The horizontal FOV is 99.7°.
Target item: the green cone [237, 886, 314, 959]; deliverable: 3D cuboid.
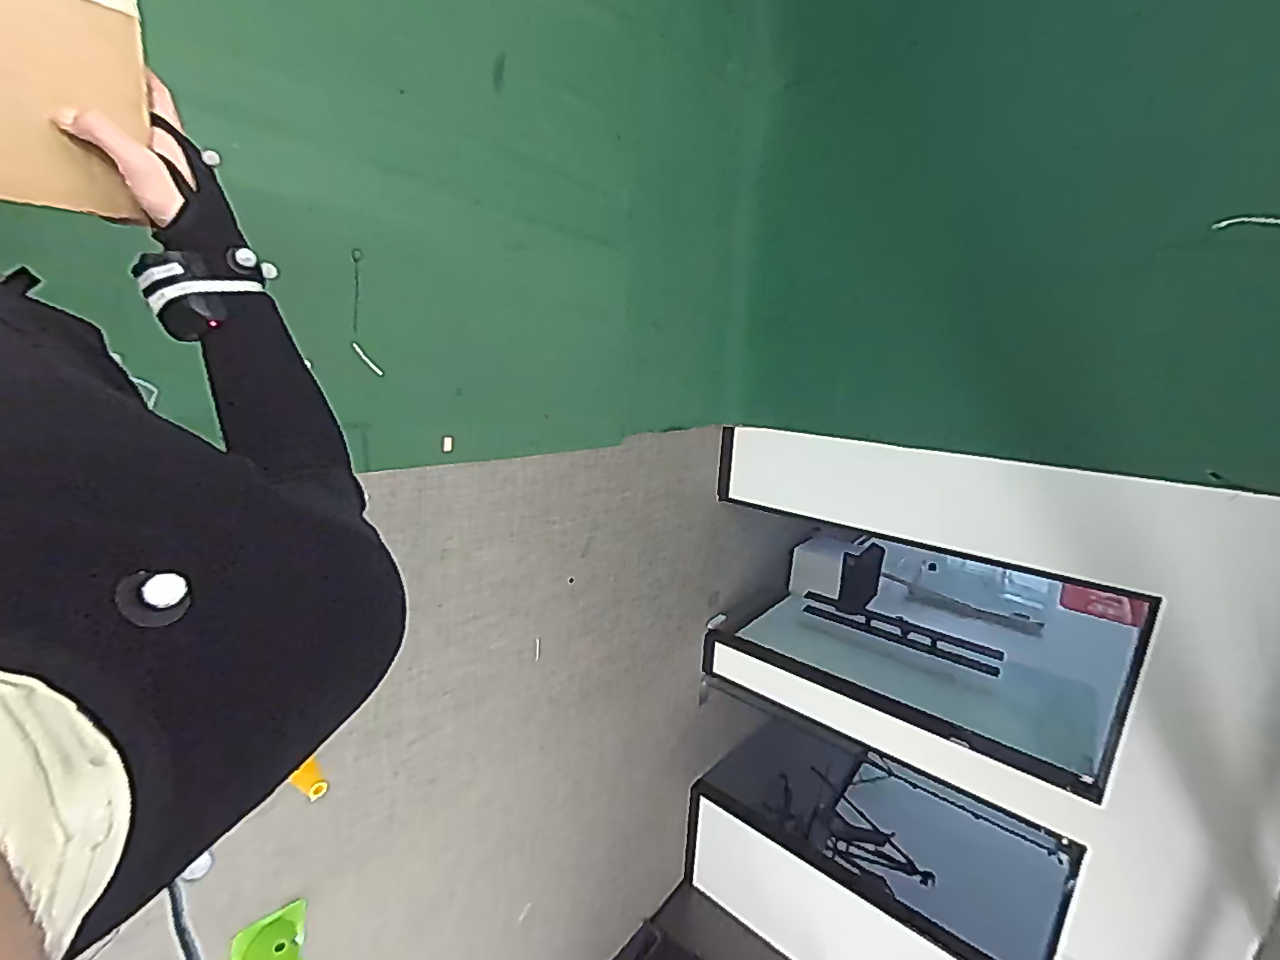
[{"bbox_3d":[-1.038,1.467,1.627,0.200,0.368,0.202,-4,103,-52],"label":"green cone"}]
